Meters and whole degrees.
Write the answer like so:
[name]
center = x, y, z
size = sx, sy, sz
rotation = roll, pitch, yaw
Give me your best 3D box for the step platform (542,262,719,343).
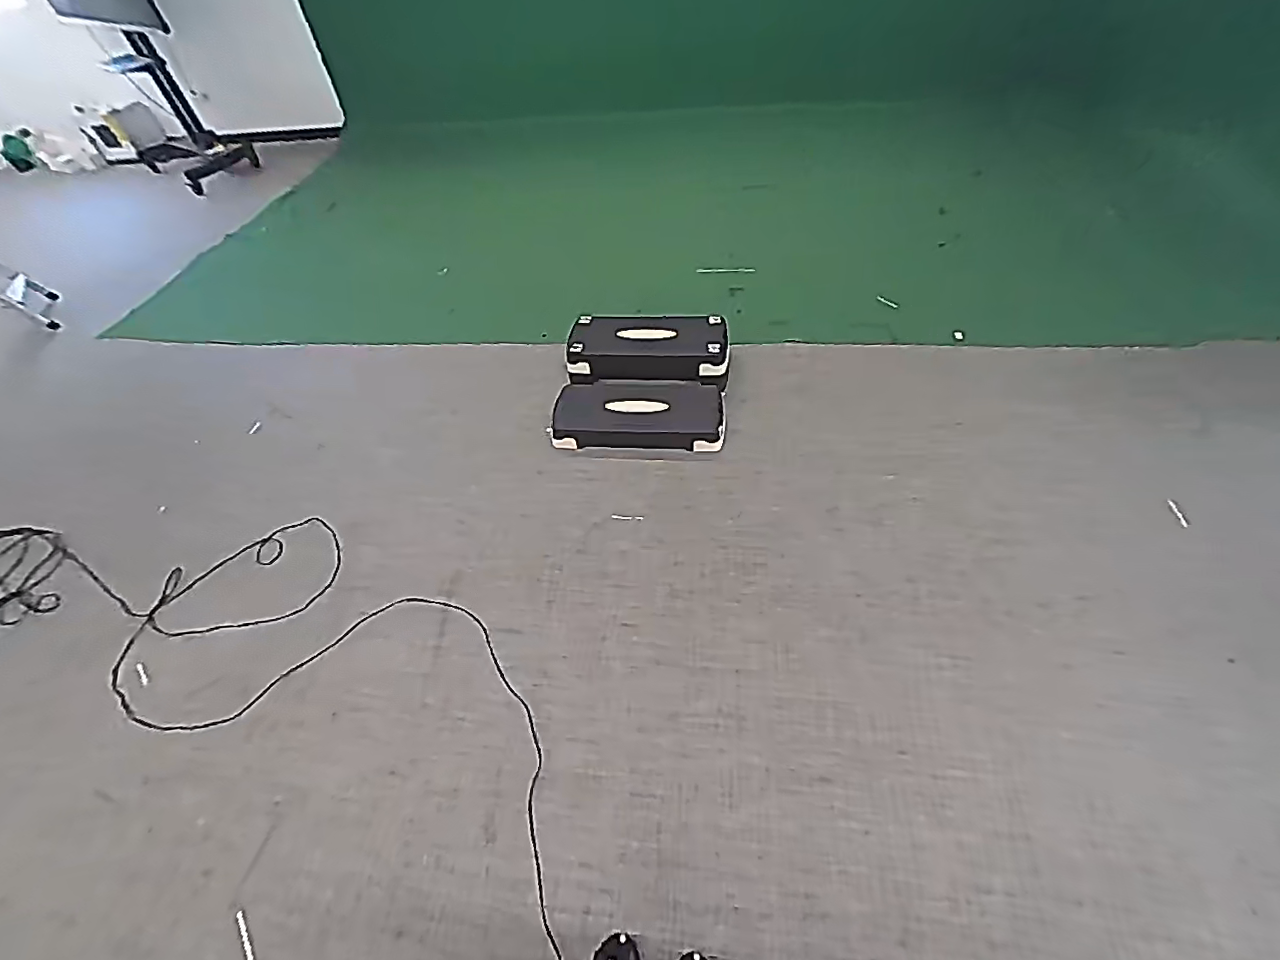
[step platform]
center = -0.030, -0.708, 2.166
size = 0.684, 0.204, 0.286
rotation = 2, 51, 8
